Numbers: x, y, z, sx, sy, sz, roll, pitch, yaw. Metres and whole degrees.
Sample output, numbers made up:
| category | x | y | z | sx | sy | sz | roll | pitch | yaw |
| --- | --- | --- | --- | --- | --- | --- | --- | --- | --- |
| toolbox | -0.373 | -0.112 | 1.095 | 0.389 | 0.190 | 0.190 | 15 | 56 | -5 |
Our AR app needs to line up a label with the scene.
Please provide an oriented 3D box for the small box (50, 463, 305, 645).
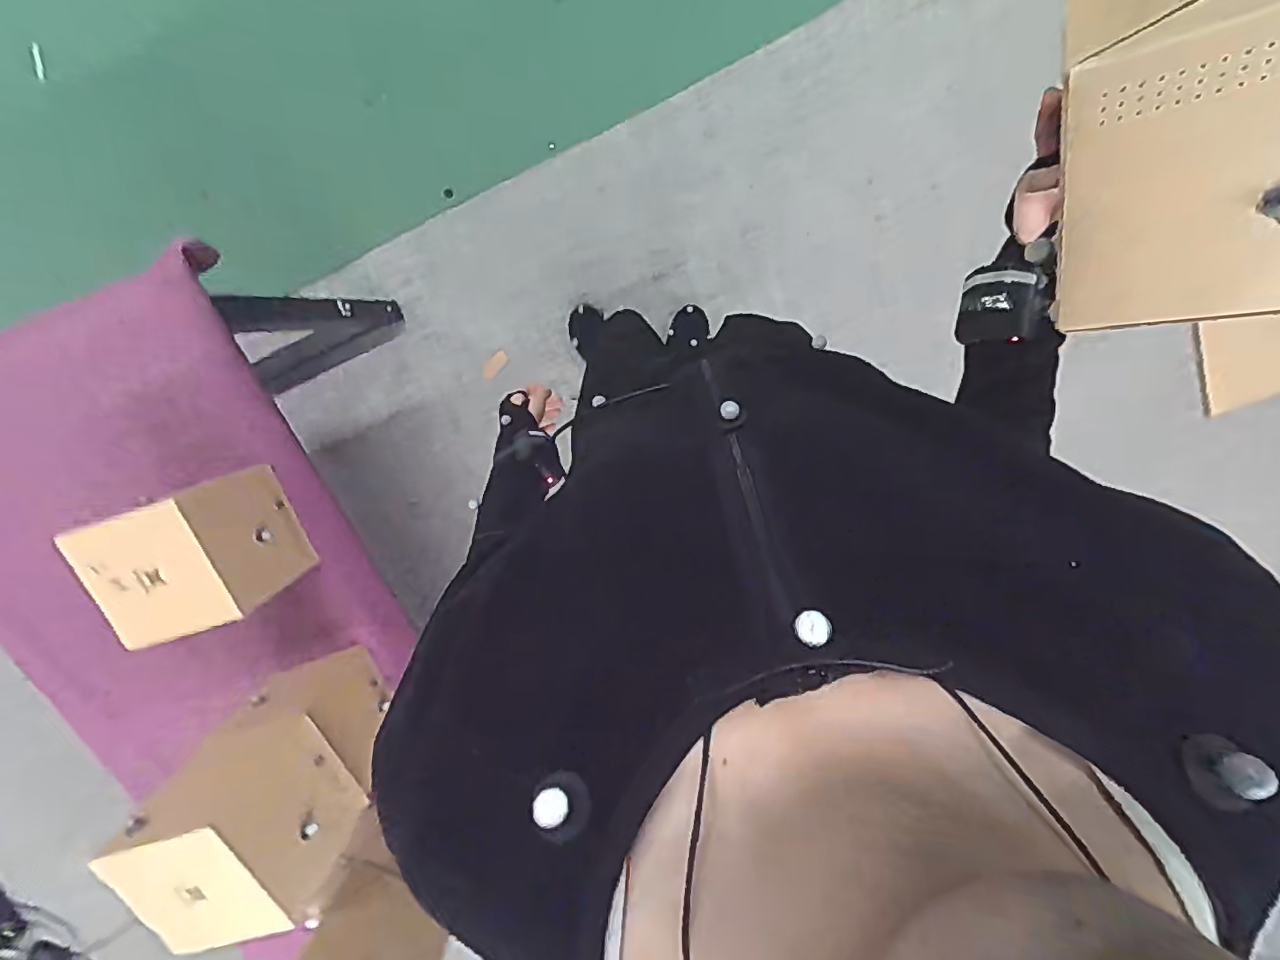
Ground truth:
| category | x | y | z | sx | sy | sz | roll | pitch | yaw |
| --- | --- | --- | --- | --- | --- | --- | --- | --- | --- |
| small box | -0.600 | 0.090 | 0.736 | 0.179 | 0.176 | 0.168 | -16 | 106 | 7 |

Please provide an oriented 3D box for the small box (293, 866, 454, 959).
| category | x | y | z | sx | sy | sz | roll | pitch | yaw |
| --- | --- | --- | --- | --- | --- | --- | --- | --- | --- |
| small box | -0.386 | 0.680 | 0.739 | 0.179 | 0.176 | 0.168 | 30 | 106 | -6 |

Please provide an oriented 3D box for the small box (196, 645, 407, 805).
| category | x | y | z | sx | sy | sz | roll | pitch | yaw |
| --- | --- | --- | --- | --- | --- | --- | --- | --- | --- |
| small box | -0.499 | 0.384 | 0.826 | 0.179 | 0.176 | 0.168 | -20 | 106 | 9 |

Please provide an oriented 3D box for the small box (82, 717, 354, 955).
| category | x | y | z | sx | sy | sz | roll | pitch | yaw |
| --- | --- | --- | --- | --- | --- | --- | --- | --- | --- |
| small box | -0.491 | 0.426 | 0.668 | 0.179 | 0.176 | 0.168 | -20 | 107 | 10 |

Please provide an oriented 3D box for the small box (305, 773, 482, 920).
| category | x | y | z | sx | sy | sz | roll | pitch | yaw |
| --- | --- | --- | --- | --- | --- | --- | --- | --- | --- |
| small box | -0.393 | 0.634 | 0.898 | 0.179 | 0.176 | 0.168 | 42 | 104 | -10 |
